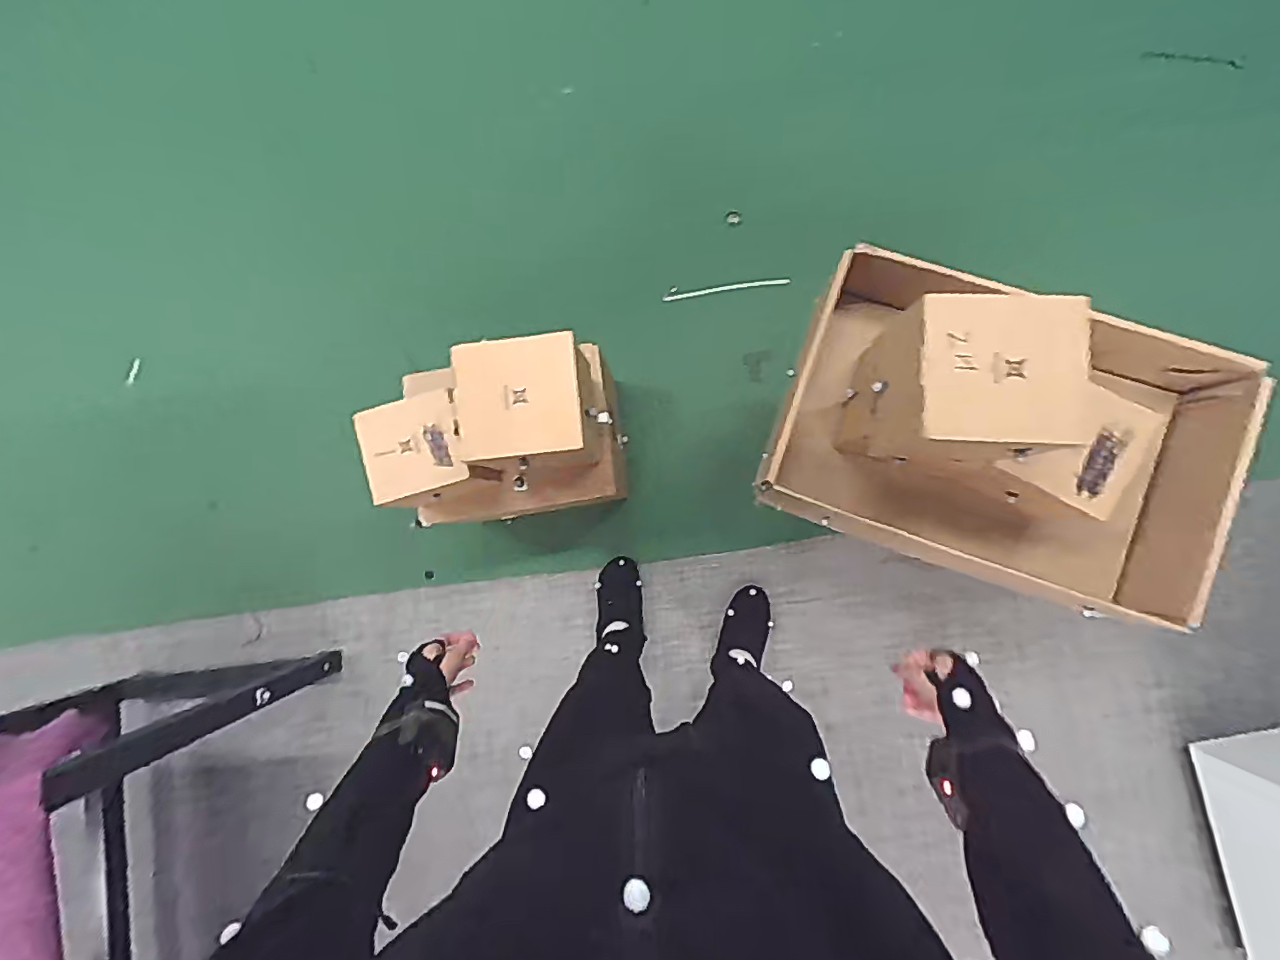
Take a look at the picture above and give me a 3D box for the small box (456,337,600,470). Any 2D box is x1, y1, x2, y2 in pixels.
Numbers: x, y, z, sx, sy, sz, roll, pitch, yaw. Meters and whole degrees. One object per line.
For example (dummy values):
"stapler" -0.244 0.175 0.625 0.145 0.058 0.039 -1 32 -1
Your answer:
"small box" -0.160 -0.107 0.829 0.179 0.176 0.168 -6 87 5

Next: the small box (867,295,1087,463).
"small box" 0.403 -0.114 0.671 0.179 0.176 0.168 3 85 4
